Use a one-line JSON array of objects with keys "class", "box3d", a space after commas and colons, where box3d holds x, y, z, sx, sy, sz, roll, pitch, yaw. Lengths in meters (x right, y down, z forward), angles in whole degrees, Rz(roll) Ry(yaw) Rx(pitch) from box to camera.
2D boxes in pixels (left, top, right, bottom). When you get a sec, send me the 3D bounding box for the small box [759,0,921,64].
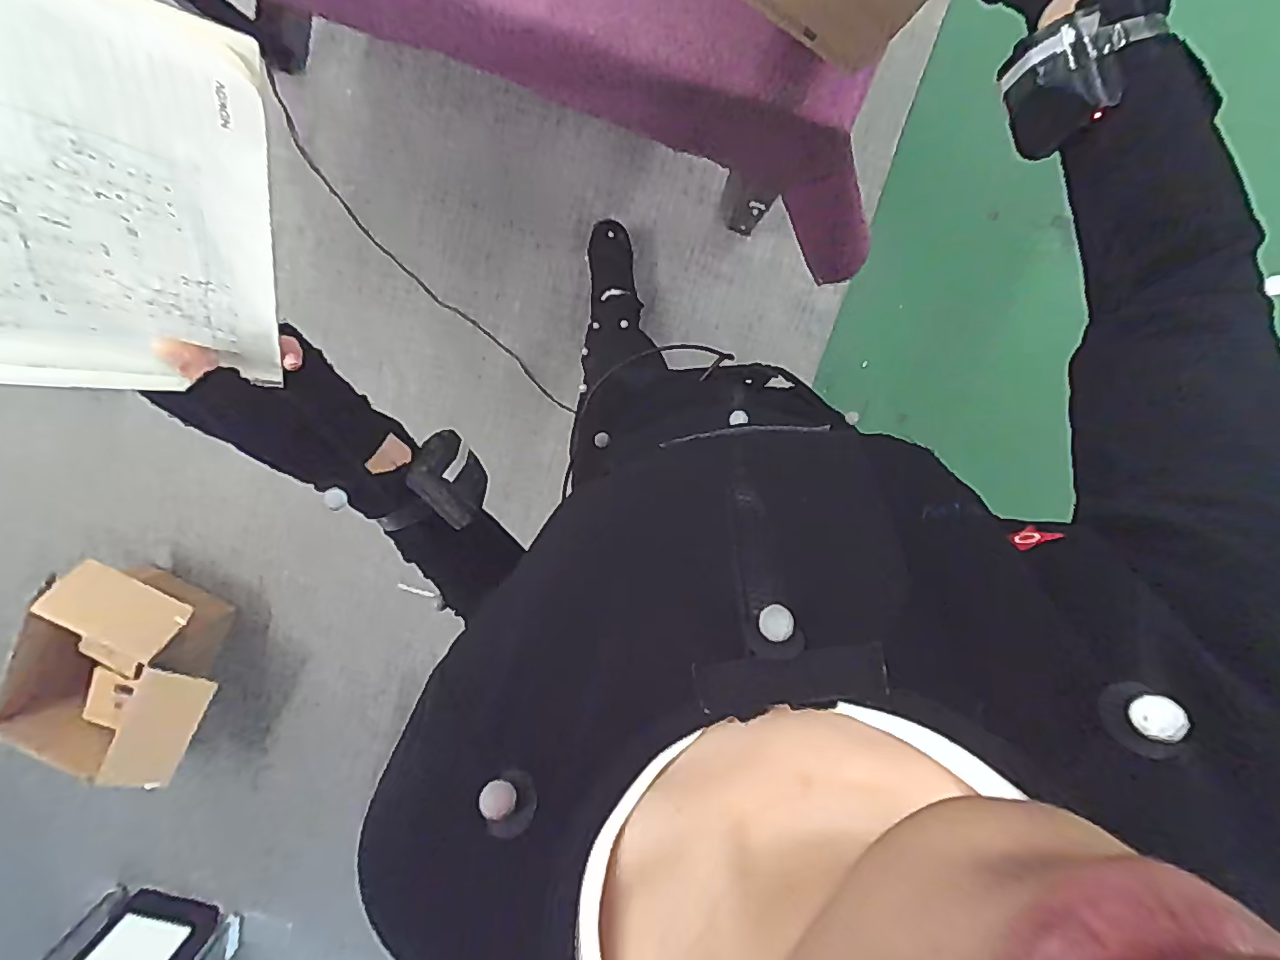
[{"class": "small box", "box3d": [0.183, -0.482, 0.415, 0.168, 0.176, 0.179, 29, 107, -8]}]
